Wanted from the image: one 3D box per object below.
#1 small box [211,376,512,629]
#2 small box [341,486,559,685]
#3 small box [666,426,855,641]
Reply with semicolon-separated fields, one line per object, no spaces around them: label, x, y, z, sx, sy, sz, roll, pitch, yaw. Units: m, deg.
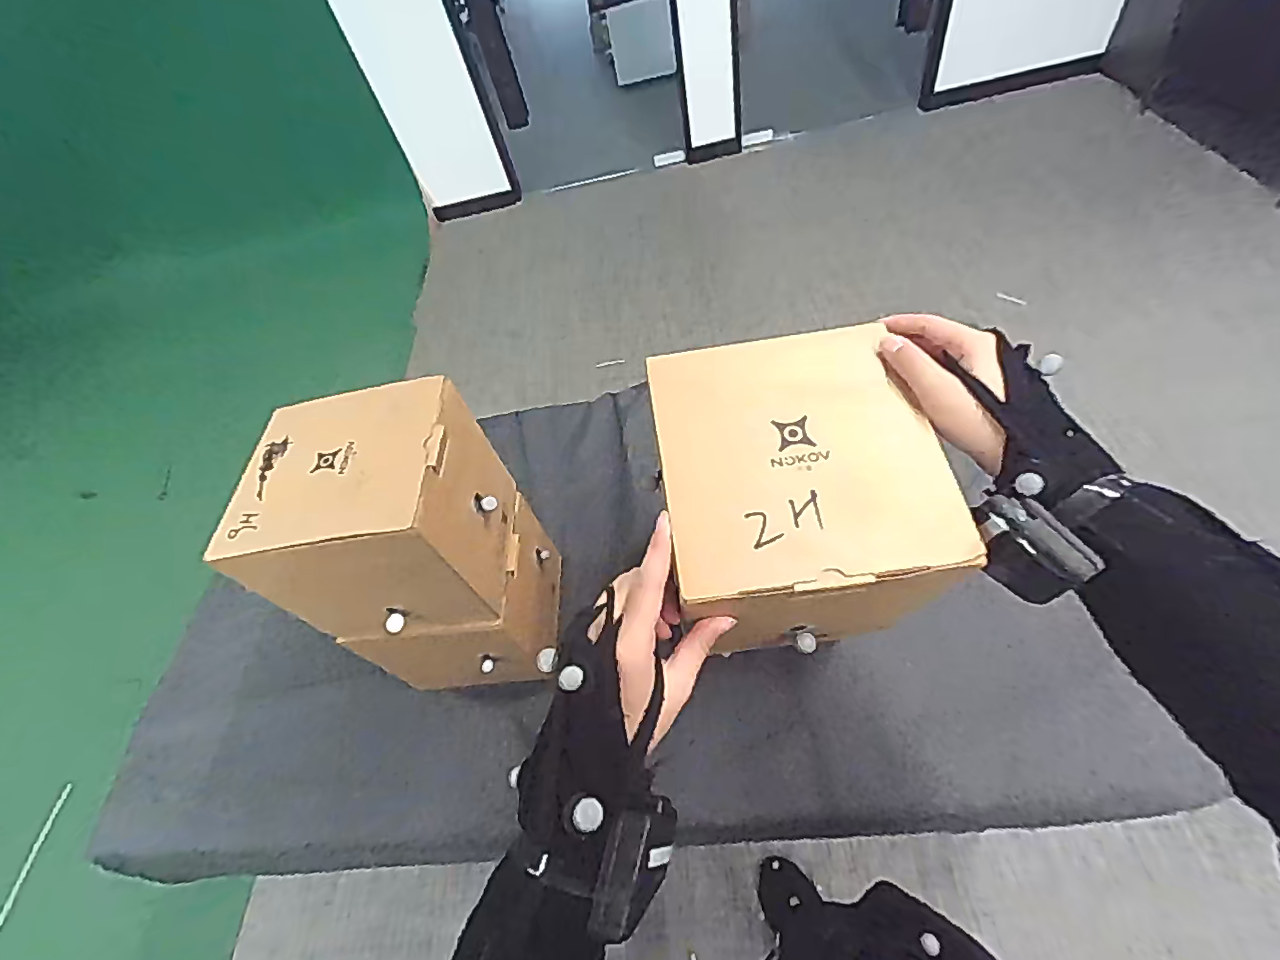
small box;-0.235;0.029;0.516;0.179;0.176;0.168;-8;52;6
small box;-0.203;0.131;0.640;0.179;0.176;0.168;-9;51;7
small box;0.127;0.069;0.609;0.168;0.176;0.179;-9;52;6
